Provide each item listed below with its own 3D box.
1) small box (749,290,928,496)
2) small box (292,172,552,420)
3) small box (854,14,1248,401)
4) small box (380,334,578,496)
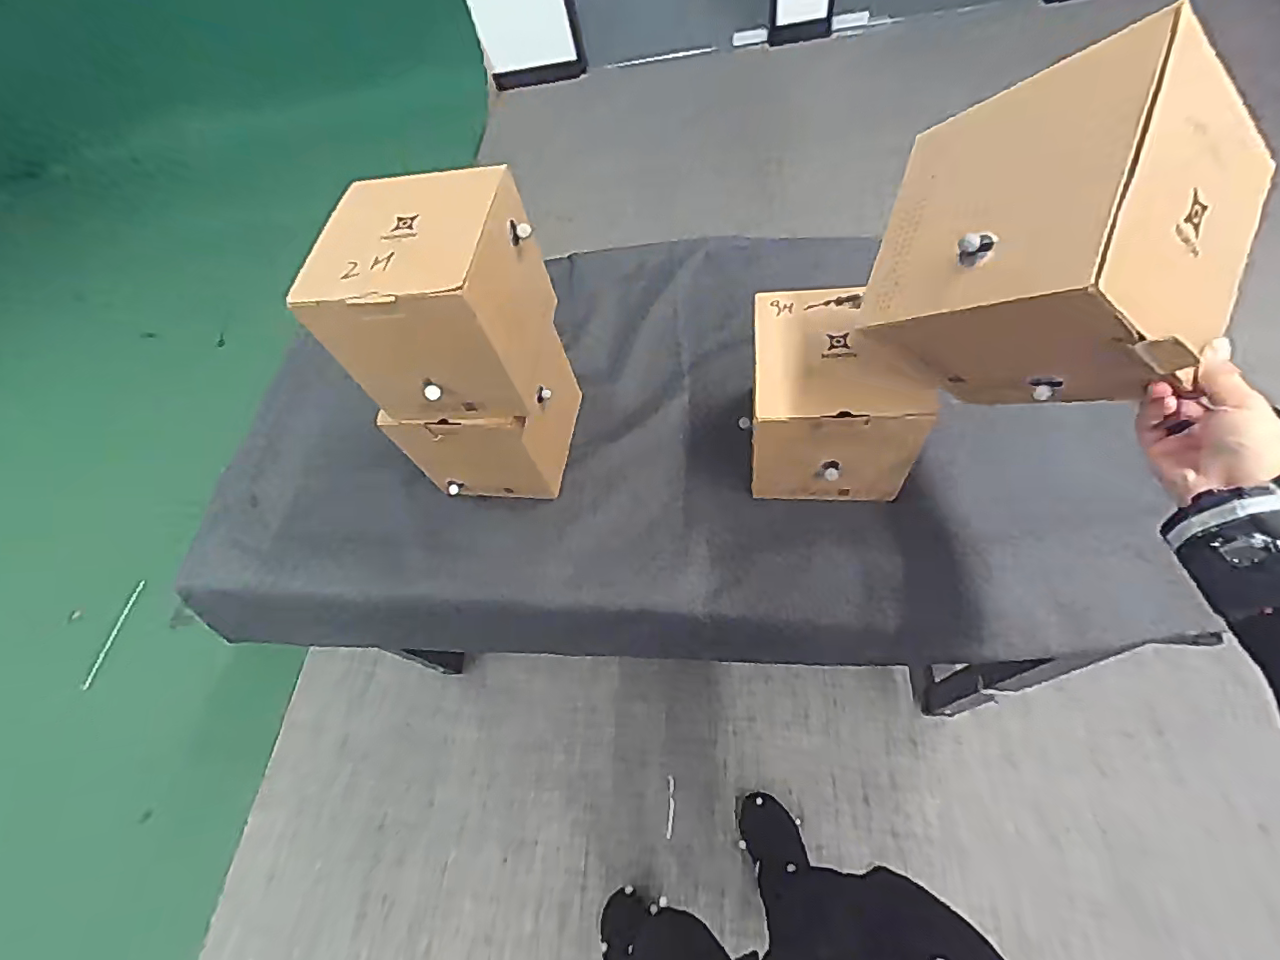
[{"bbox_3d":[0.211,-0.091,0.621,0.168,0.176,0.179,0,61,11],"label":"small box"},{"bbox_3d":[-0.200,-0.181,0.559,0.168,0.176,0.179,0,60,11],"label":"small box"},{"bbox_3d":[0.294,-0.168,0.410,0.176,0.168,0.179,10,81,63],"label":"small box"},{"bbox_3d":[-0.189,-0.092,0.698,0.168,0.176,0.179,3,60,12],"label":"small box"}]
